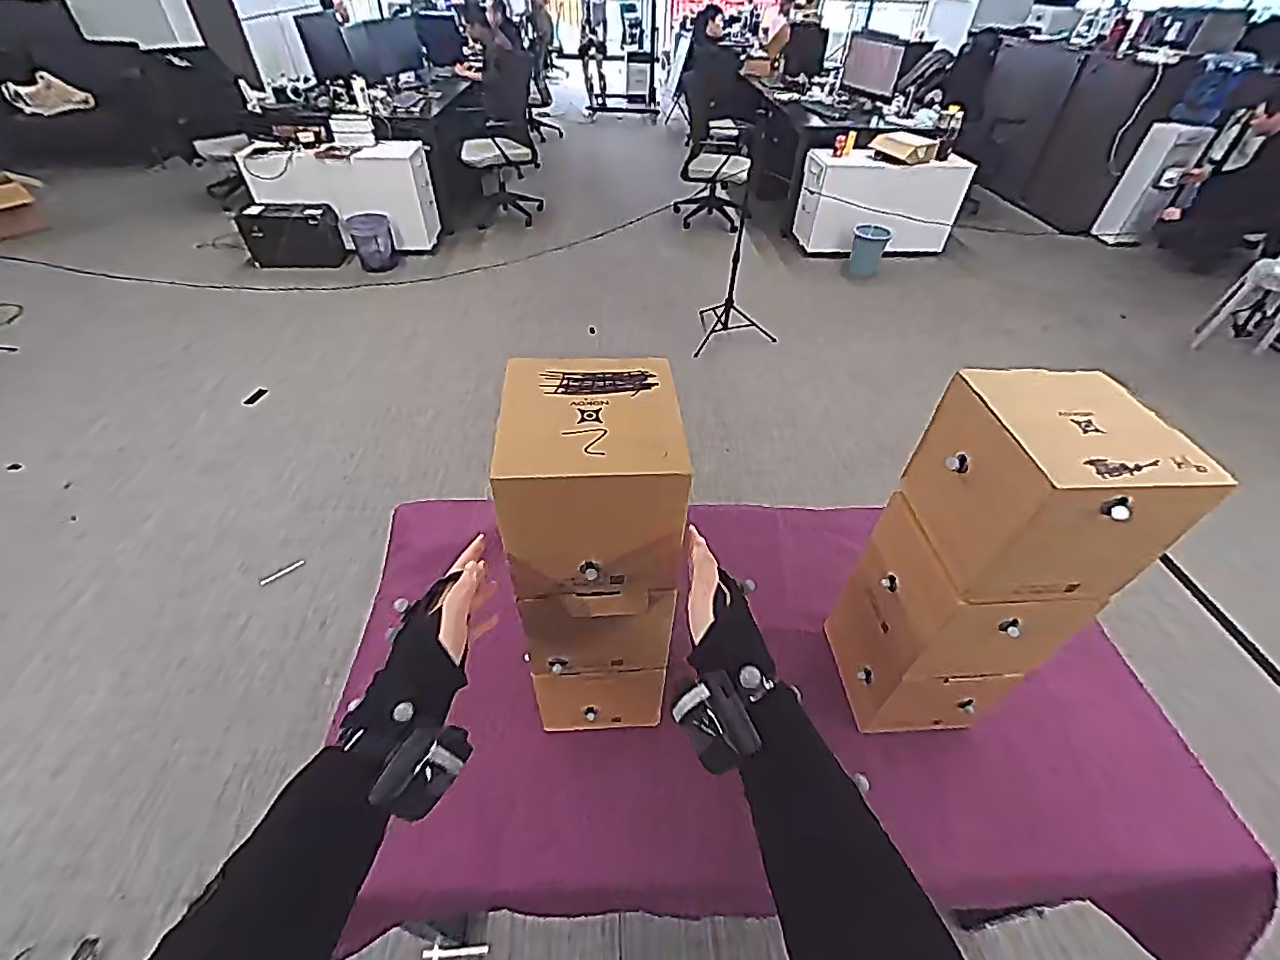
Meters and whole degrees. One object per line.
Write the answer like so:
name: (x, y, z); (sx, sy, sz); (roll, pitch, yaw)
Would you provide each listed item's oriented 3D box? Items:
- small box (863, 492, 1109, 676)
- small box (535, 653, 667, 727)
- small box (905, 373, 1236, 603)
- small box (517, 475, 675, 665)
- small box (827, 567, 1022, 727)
small box: (0.398, 0.129, 0.669); (0.179, 0.176, 0.168); (-1, 45, -4)
small box: (-0.056, 0.233, 0.779); (0.168, 0.176, 0.179); (-1, 45, -4)
small box: (0.408, 0.007, 0.560); (0.168, 0.176, 0.179); (-1, 44, -4)
small box: (-0.052, 0.114, 0.665); (0.168, 0.176, 0.179); (-2, 44, -5)
small box: (0.393, 0.245, 0.785); (0.168, 0.176, 0.179); (0, 44, -4)
